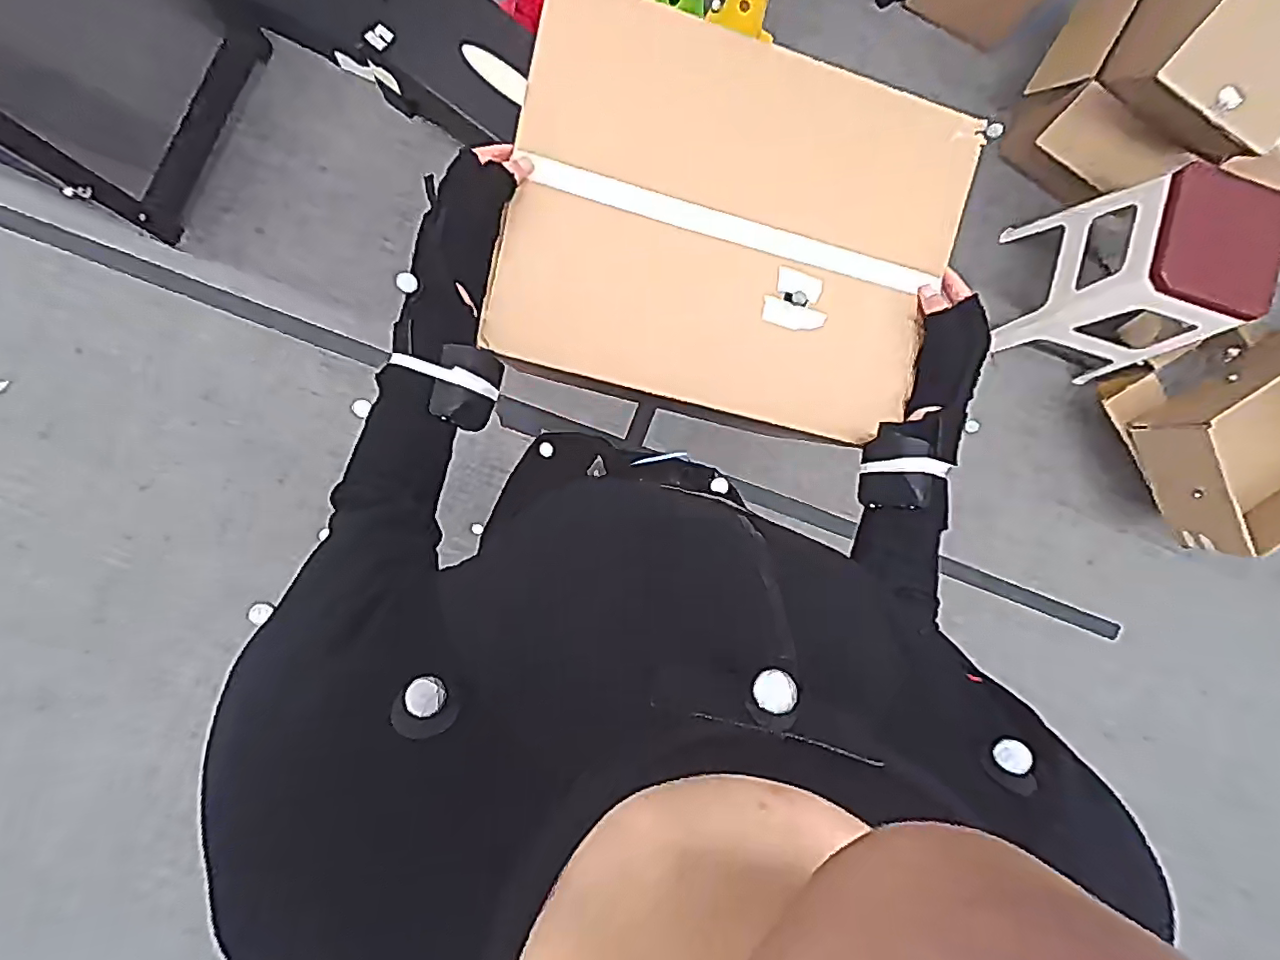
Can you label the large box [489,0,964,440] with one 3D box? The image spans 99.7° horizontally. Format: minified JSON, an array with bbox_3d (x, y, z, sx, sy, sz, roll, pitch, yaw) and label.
[{"bbox_3d":[0.065,-0.246,0.643,0.408,0.320,0.320,13,97,-10],"label":"large box"}]
